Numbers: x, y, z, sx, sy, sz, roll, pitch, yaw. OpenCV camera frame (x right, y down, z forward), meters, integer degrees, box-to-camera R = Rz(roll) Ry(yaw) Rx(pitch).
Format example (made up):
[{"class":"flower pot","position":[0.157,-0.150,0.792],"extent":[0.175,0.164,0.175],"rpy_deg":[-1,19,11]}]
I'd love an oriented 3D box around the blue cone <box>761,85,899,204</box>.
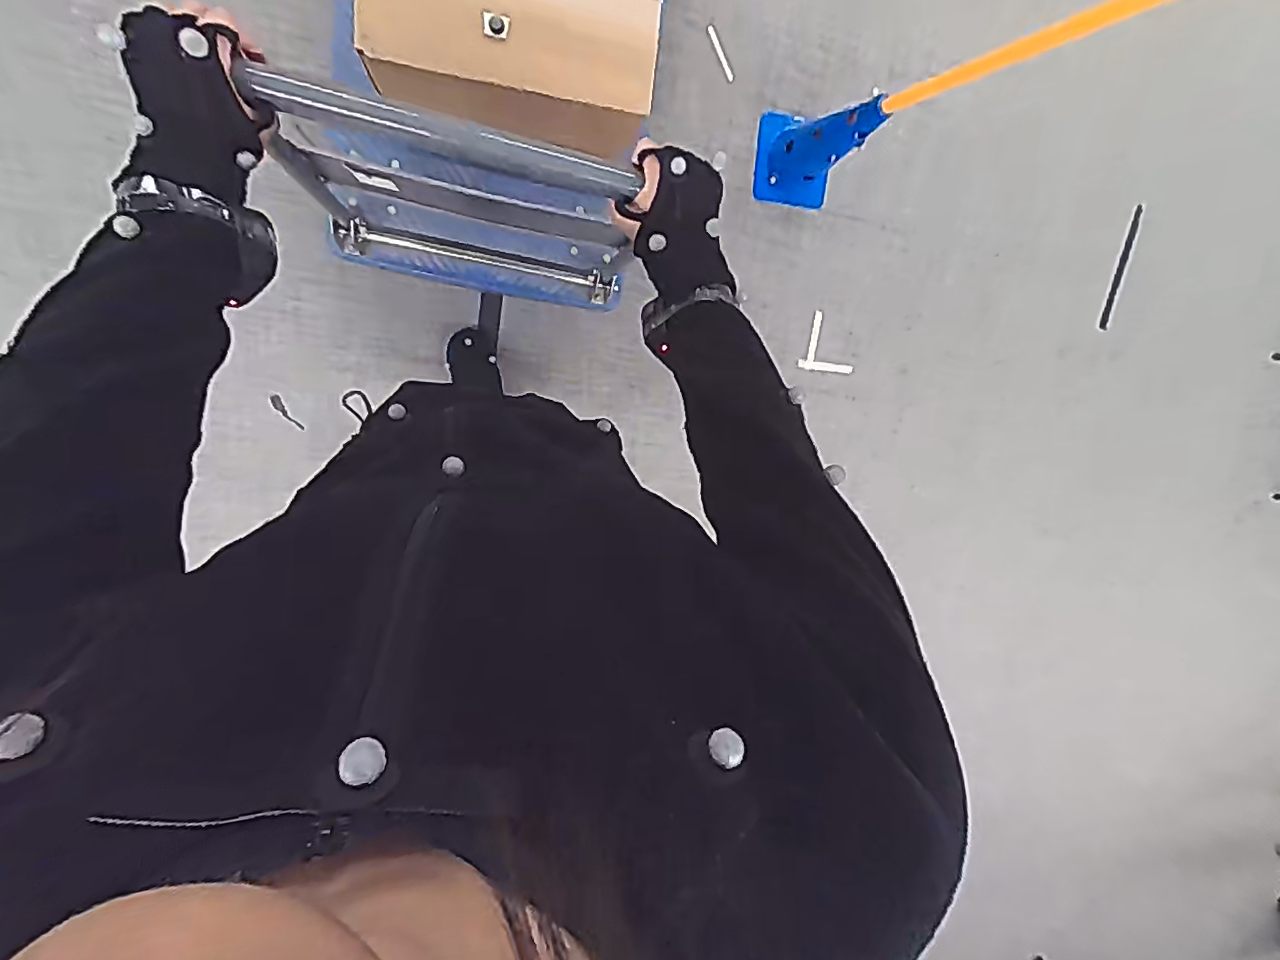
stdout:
[{"class":"blue cone","position":[0.435,-0.766,1.205],"extent":[0.193,0.380,0.192],"rpy_deg":[2,103,-15]}]
